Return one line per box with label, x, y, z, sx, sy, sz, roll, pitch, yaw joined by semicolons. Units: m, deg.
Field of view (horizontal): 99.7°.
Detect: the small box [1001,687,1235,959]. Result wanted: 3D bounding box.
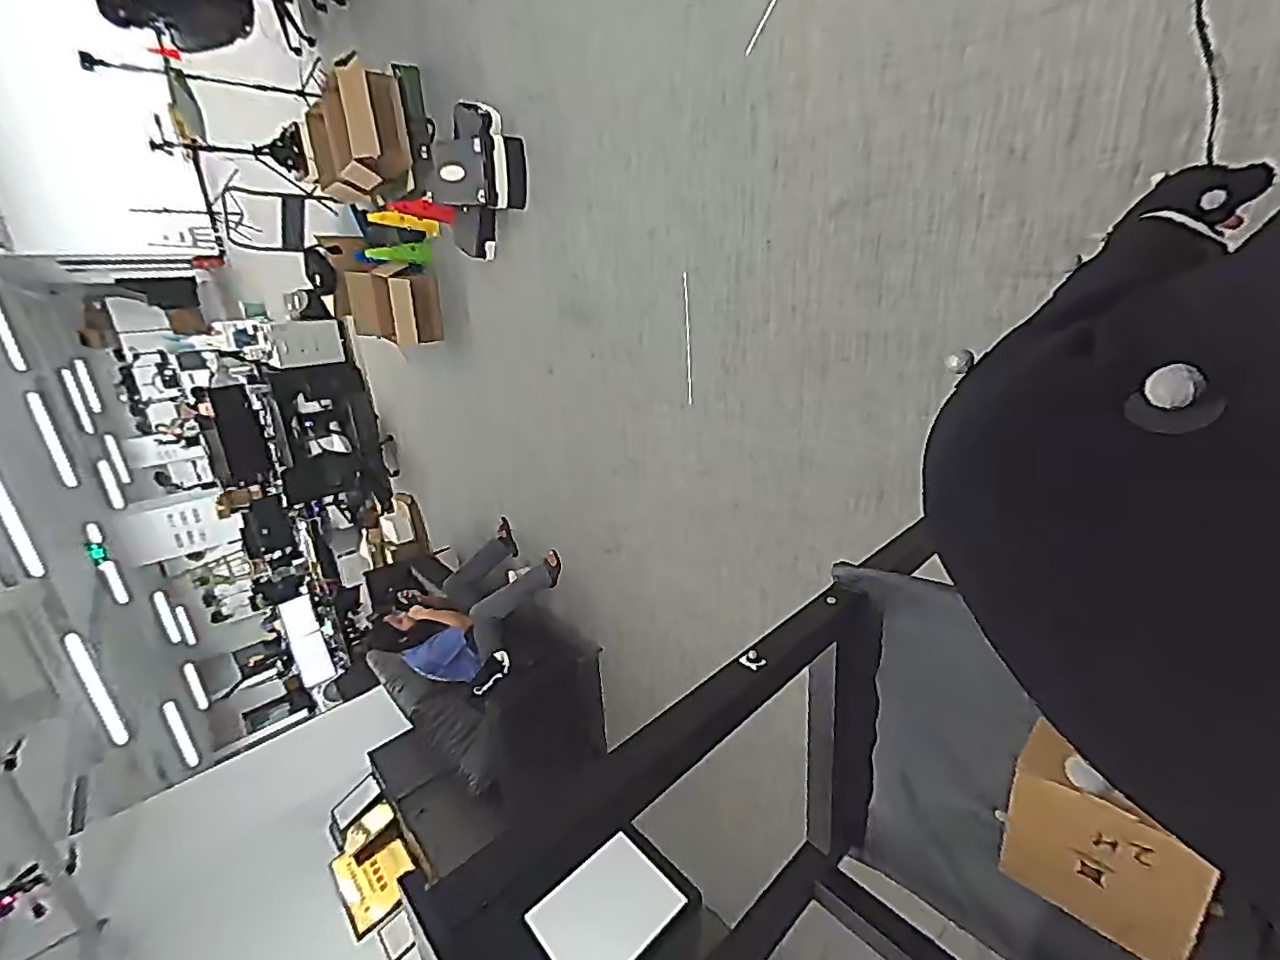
small box;0.548;0.382;0.625;0.168;0.176;0.179;15;118;45
